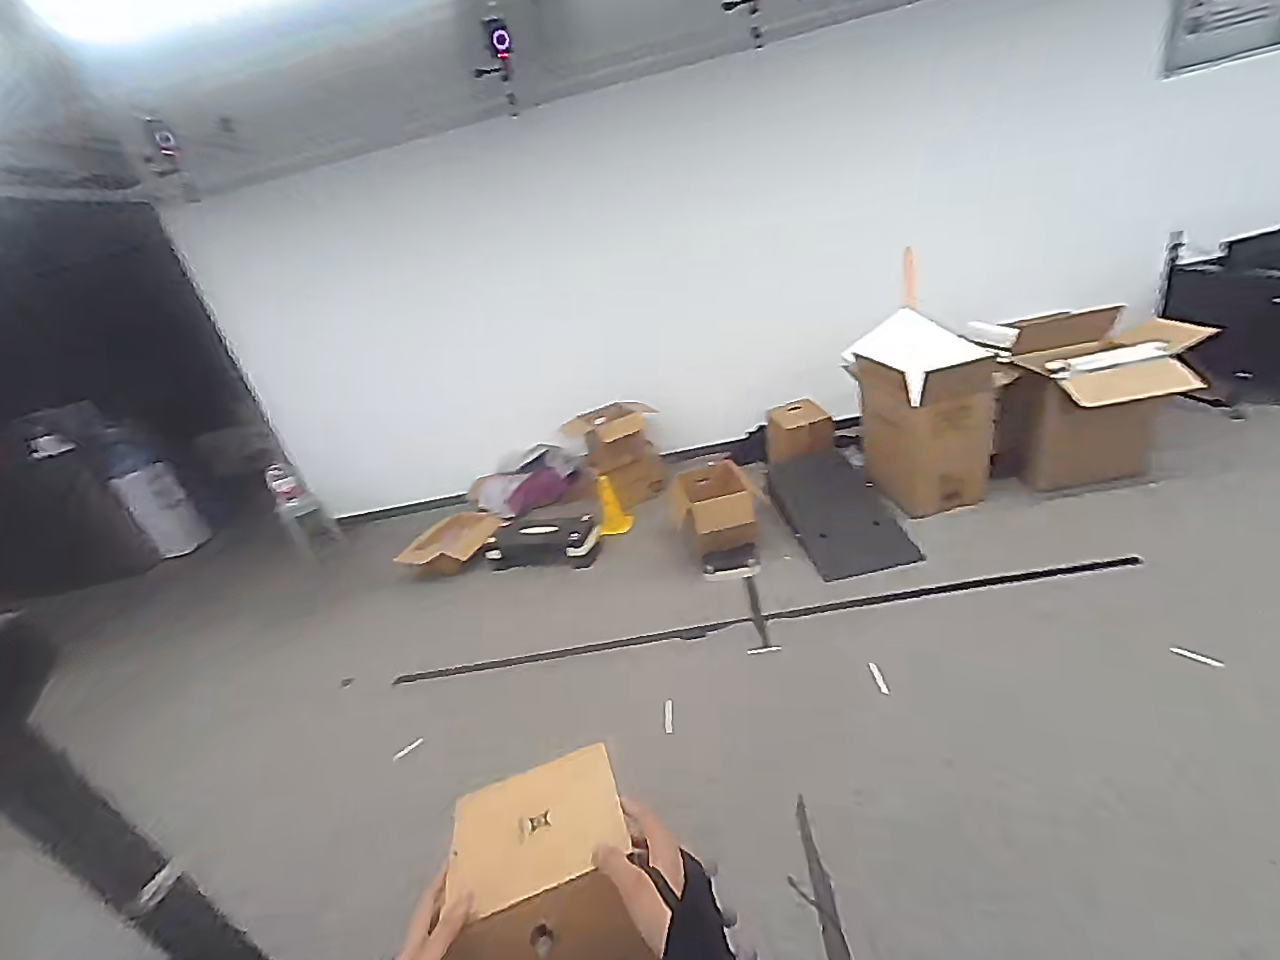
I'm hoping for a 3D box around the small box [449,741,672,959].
[{"bbox_3d":[-0.076,0.418,0.558,0.179,0.176,0.168,-17,11,-10],"label":"small box"}]
